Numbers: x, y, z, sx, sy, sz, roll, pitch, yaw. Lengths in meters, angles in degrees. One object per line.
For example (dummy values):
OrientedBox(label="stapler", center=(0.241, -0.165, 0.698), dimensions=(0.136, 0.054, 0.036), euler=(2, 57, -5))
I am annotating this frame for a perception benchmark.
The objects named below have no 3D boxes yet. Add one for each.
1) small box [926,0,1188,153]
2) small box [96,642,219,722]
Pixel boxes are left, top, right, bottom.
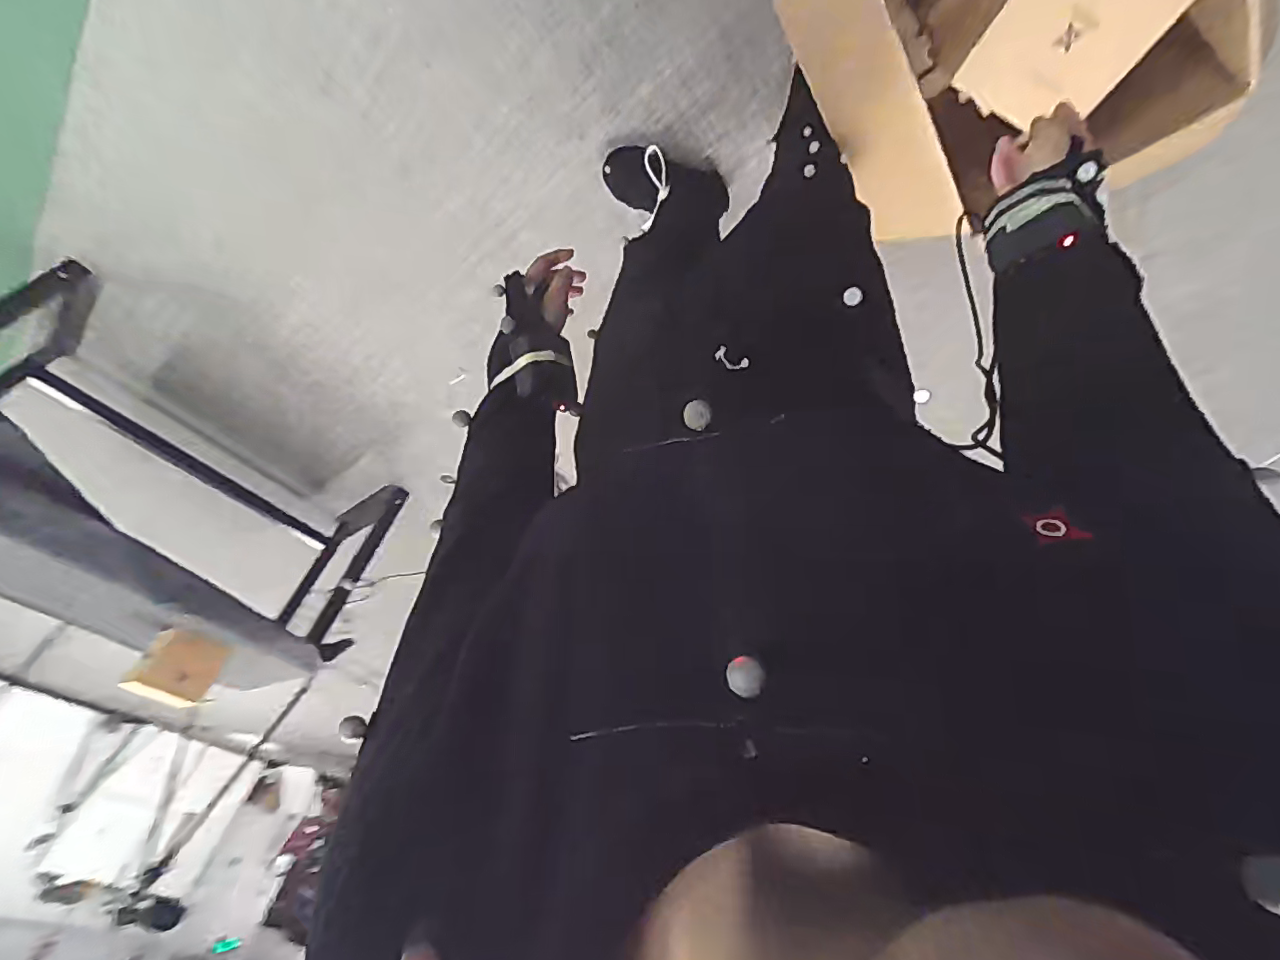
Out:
OrientedBox(label="small box", center=(0.484, -0.549, 0.657), dimensions=(0.168, 0.176, 0.179), euler=(23, 137, -11))
OrientedBox(label="small box", center=(-1.386, 0.578, 1.561), dimensions=(0.168, 0.176, 0.179), euler=(-17, 131, 30))
